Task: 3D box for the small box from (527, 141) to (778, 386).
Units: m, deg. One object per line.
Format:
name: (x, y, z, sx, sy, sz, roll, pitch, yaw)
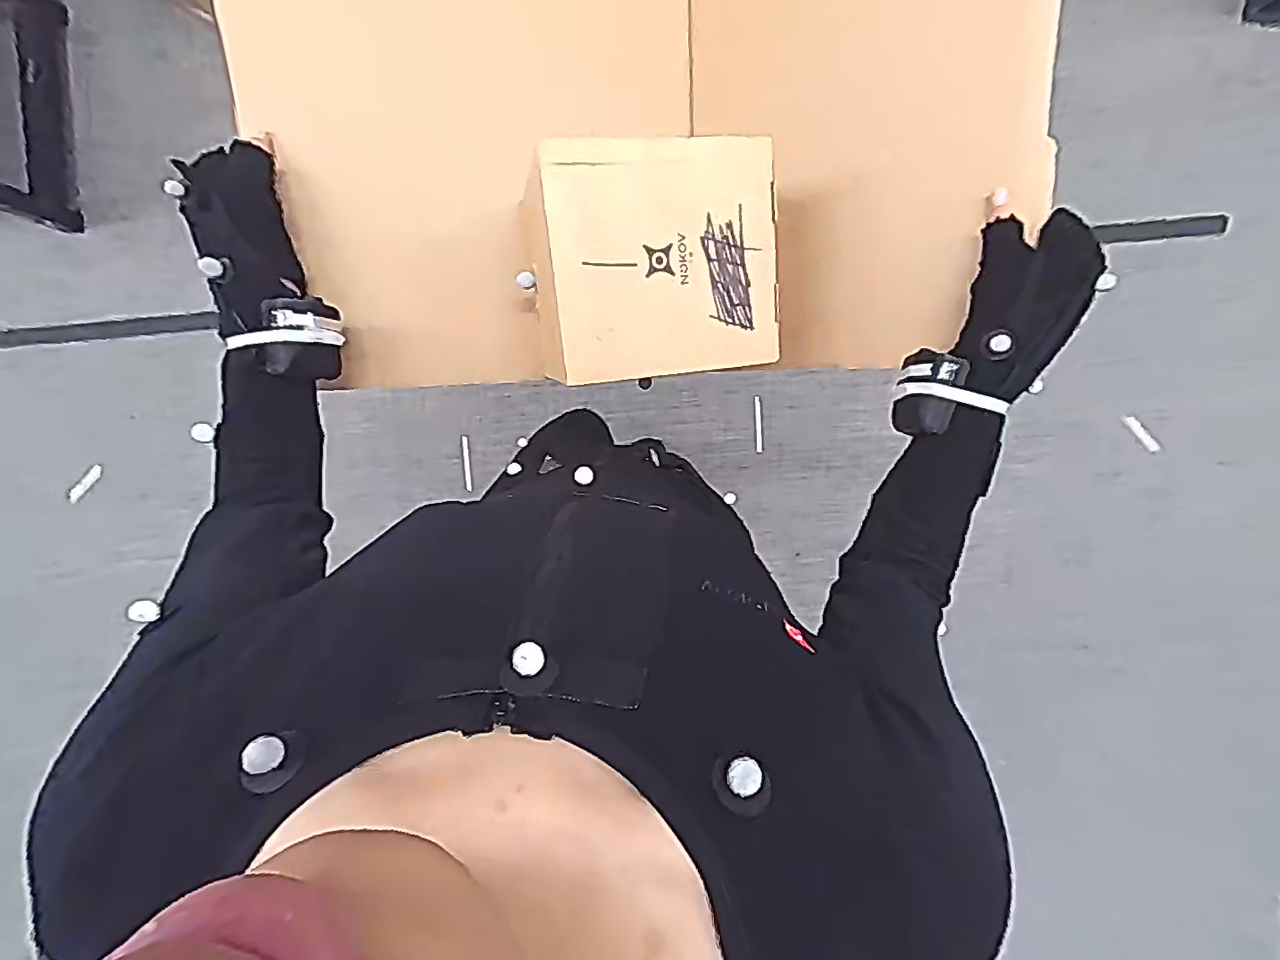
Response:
small box: (0.003, -0.179, 0.477, 0.179, 0.176, 0.168, -9, 105, -13)
